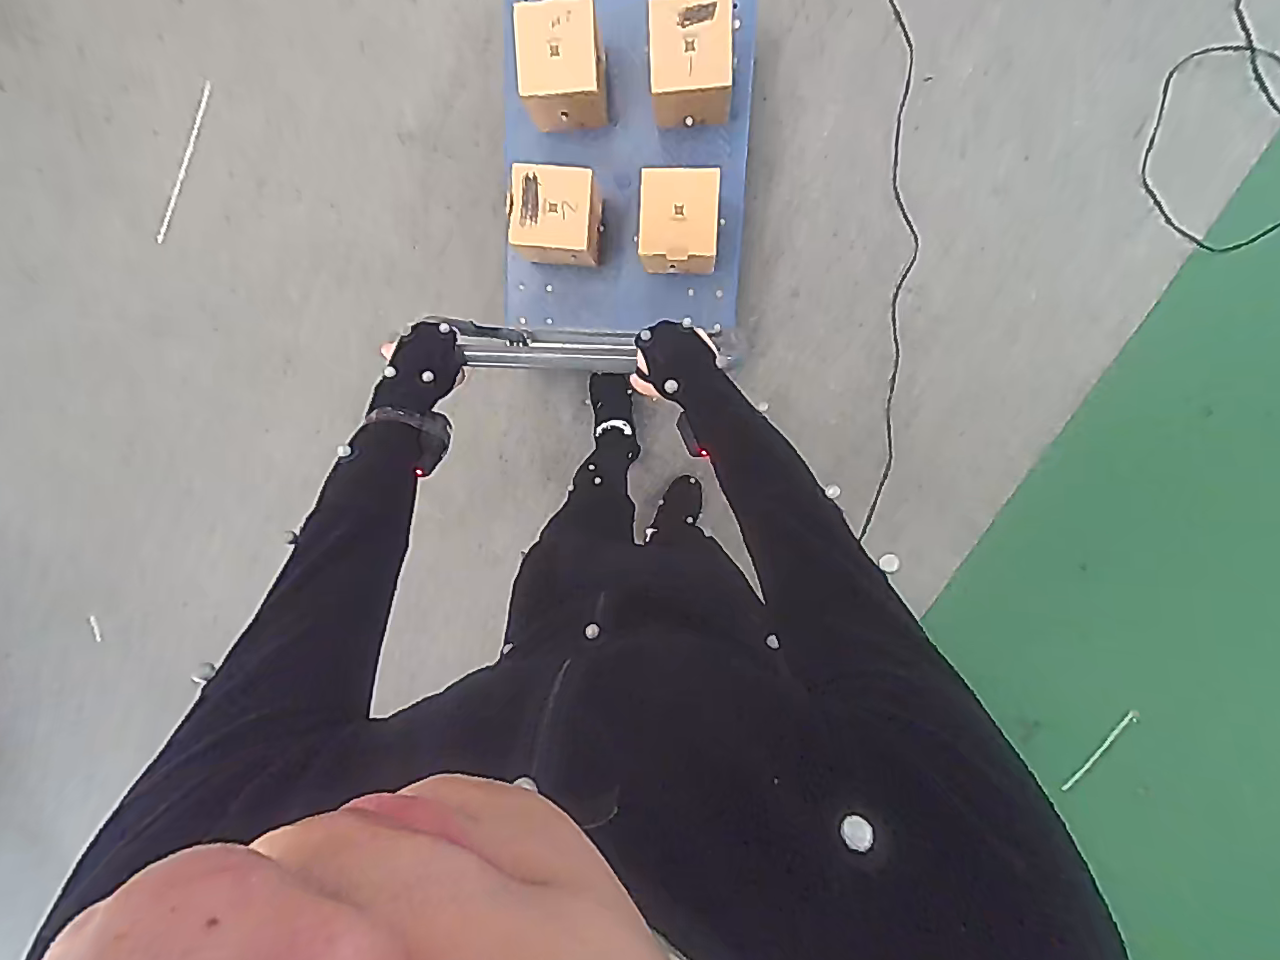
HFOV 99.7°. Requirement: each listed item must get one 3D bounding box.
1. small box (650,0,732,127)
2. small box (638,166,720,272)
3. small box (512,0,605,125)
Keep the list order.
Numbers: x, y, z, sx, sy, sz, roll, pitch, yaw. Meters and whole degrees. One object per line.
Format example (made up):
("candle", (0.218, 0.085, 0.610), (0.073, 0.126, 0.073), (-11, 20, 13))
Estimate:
("small box", (0.107, -0.889, 1.151), (0.168, 0.176, 0.179), (-1, 101, 6))
("small box", (0.086, -0.577, 1.211), (0.168, 0.176, 0.179), (3, 101, 4))
("small box", (-0.168, -0.897, 1.173), (0.168, 0.176, 0.179), (-1, 100, 4))
